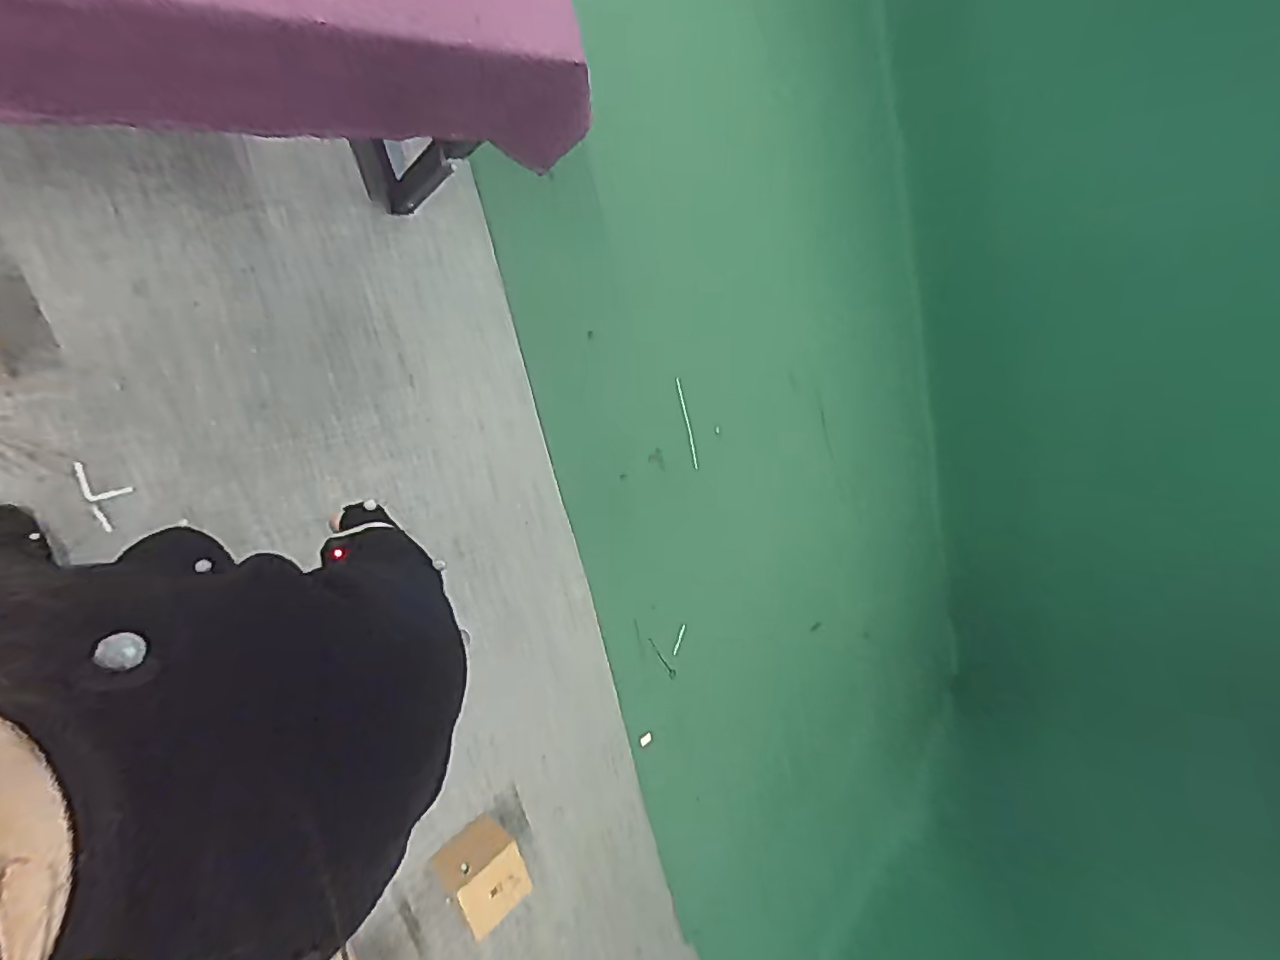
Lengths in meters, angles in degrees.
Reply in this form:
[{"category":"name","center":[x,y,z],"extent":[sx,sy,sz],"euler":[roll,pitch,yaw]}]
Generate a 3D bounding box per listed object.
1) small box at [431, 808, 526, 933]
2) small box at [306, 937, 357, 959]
[{"category":"small box","center":[-0.443,1.043,1.459],"extent":[0.179,0.176,0.168],"euler":[-26,109,-39]},{"category":"small box","center":[-0.710,1.193,1.219],"extent":[0.168,0.176,0.179],"euler":[-25,108,-39]}]
